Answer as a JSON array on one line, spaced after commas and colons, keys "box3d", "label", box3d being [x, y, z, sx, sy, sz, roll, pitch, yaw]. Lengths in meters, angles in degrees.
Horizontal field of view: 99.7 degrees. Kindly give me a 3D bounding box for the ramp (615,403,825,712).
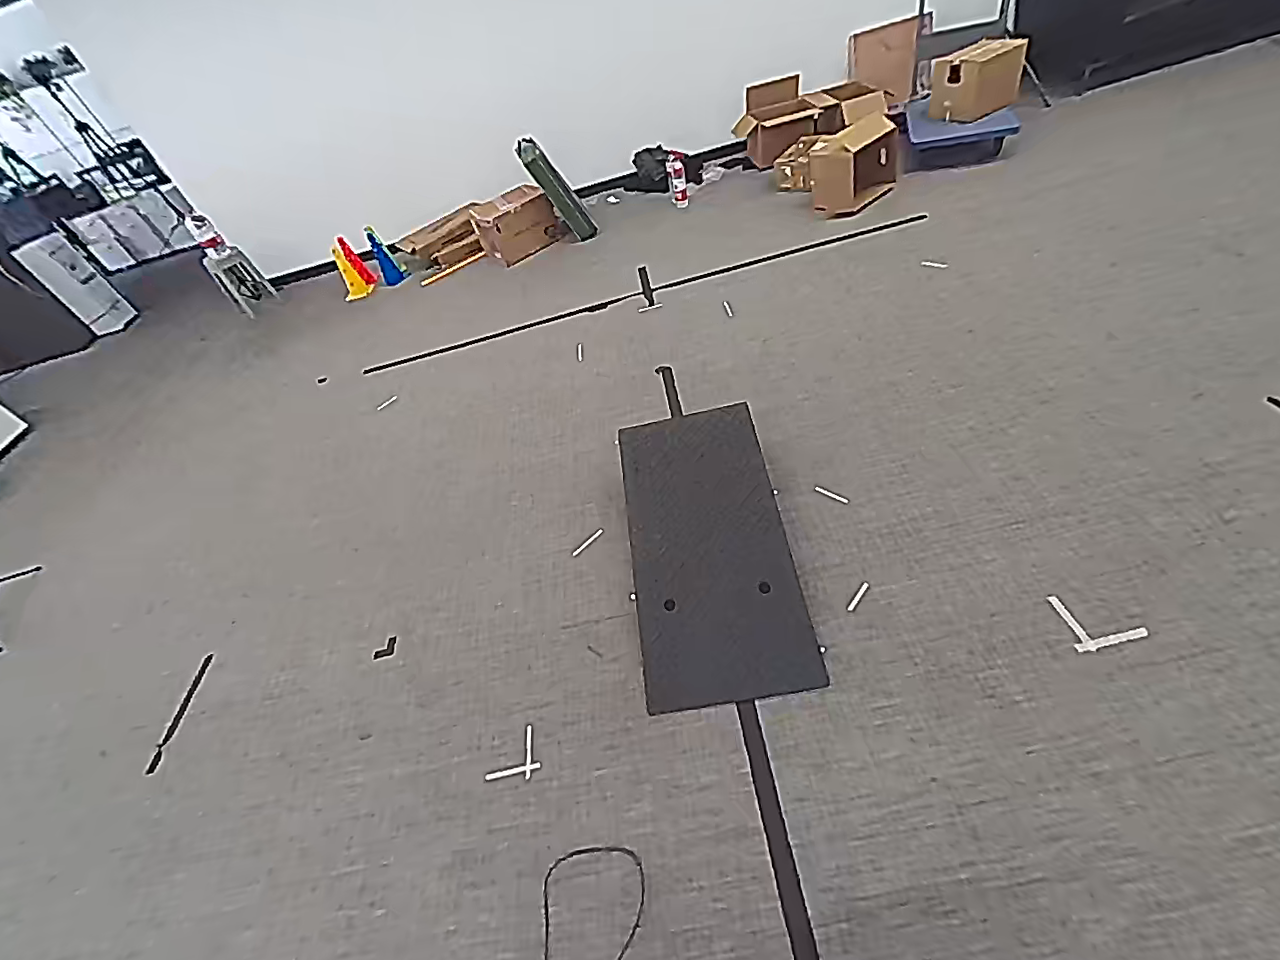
[{"box3d": [0.202, 0.179, 1.726, 0.509, 0.206, 0.991, -13, 45, 4], "label": "ramp"}]
